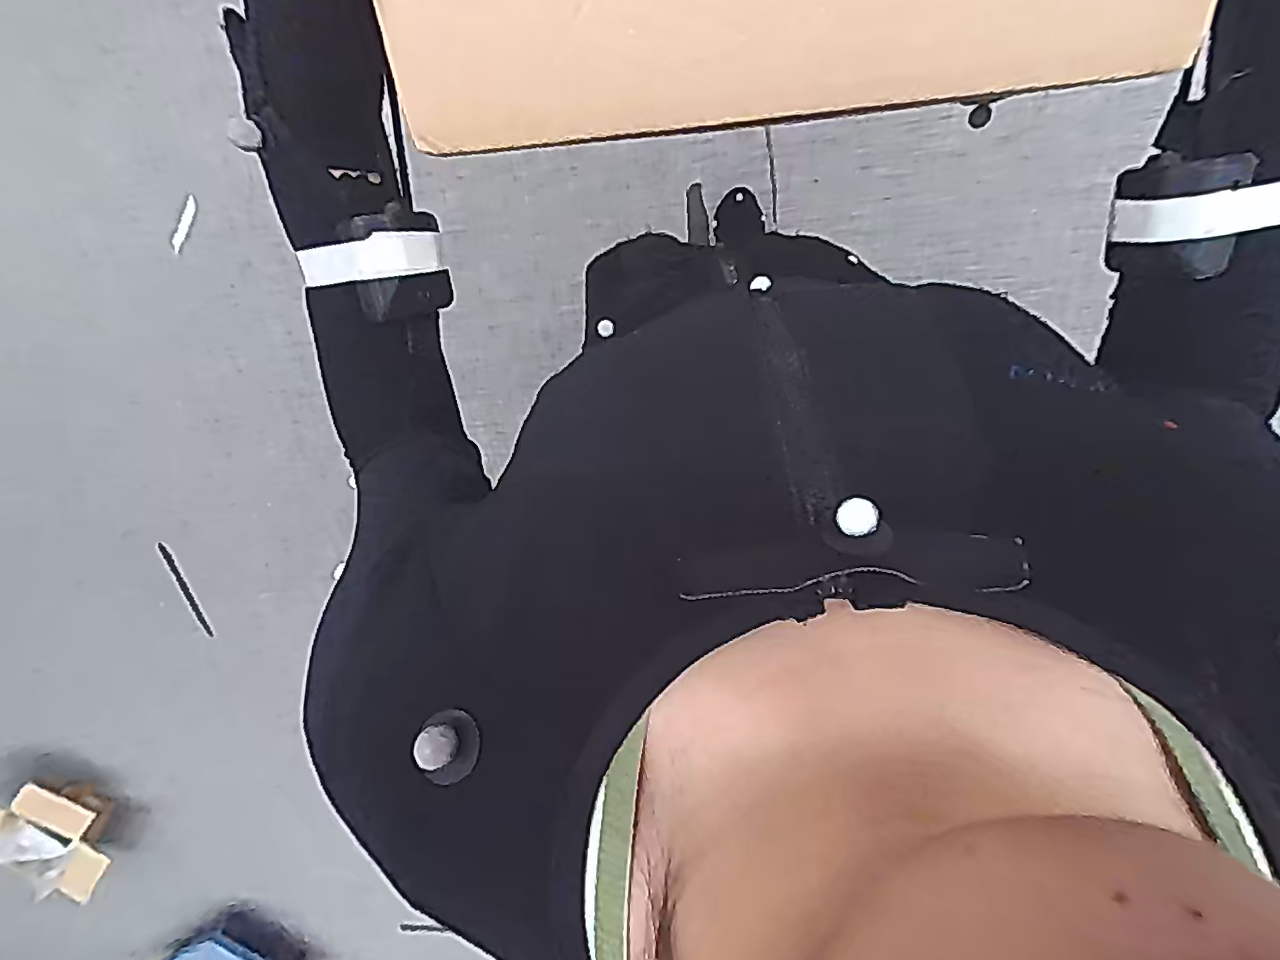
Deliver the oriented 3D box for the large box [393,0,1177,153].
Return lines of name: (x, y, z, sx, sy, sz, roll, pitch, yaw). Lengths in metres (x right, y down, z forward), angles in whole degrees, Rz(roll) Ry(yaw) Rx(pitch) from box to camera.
large box: (0.066, -0.414, 0.341, 0.408, 0.320, 0.320, -4, 122, 4)
